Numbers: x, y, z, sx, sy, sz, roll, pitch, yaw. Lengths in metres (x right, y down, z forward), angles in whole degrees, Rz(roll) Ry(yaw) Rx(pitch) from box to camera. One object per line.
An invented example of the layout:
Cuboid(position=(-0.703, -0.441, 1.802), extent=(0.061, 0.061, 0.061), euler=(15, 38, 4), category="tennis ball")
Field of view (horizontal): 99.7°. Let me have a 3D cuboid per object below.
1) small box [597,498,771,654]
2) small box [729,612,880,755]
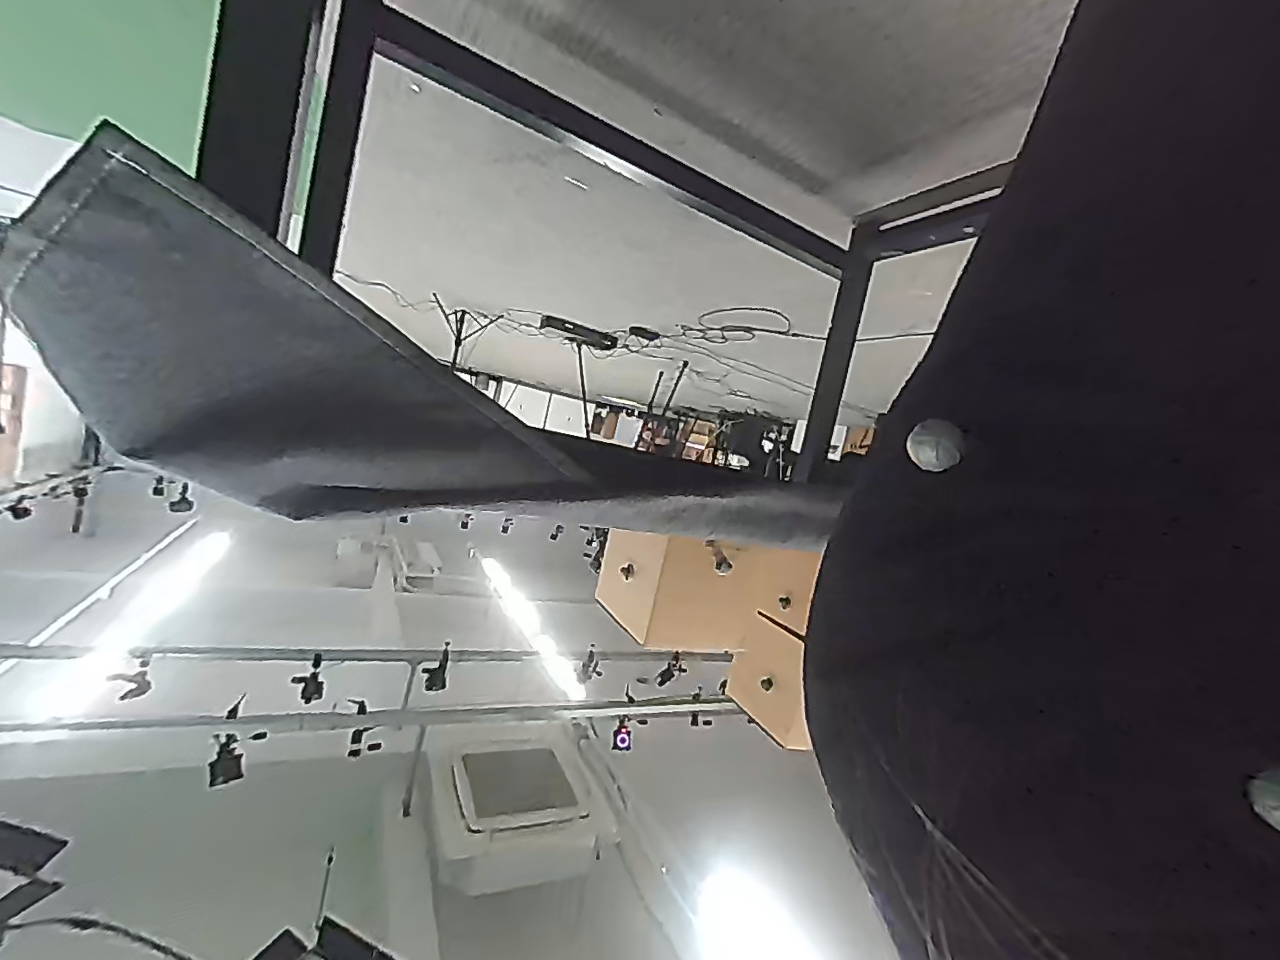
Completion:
Cuboid(position=(0.059, 0.126, 0.760), extent=(0.168, 0.176, 0.179), euler=(11, -176, -27), category="small box")
Cuboid(position=(0.277, 0.332, 0.909), extent=(0.168, 0.176, 0.179), euler=(12, -178, -24), category="small box")
